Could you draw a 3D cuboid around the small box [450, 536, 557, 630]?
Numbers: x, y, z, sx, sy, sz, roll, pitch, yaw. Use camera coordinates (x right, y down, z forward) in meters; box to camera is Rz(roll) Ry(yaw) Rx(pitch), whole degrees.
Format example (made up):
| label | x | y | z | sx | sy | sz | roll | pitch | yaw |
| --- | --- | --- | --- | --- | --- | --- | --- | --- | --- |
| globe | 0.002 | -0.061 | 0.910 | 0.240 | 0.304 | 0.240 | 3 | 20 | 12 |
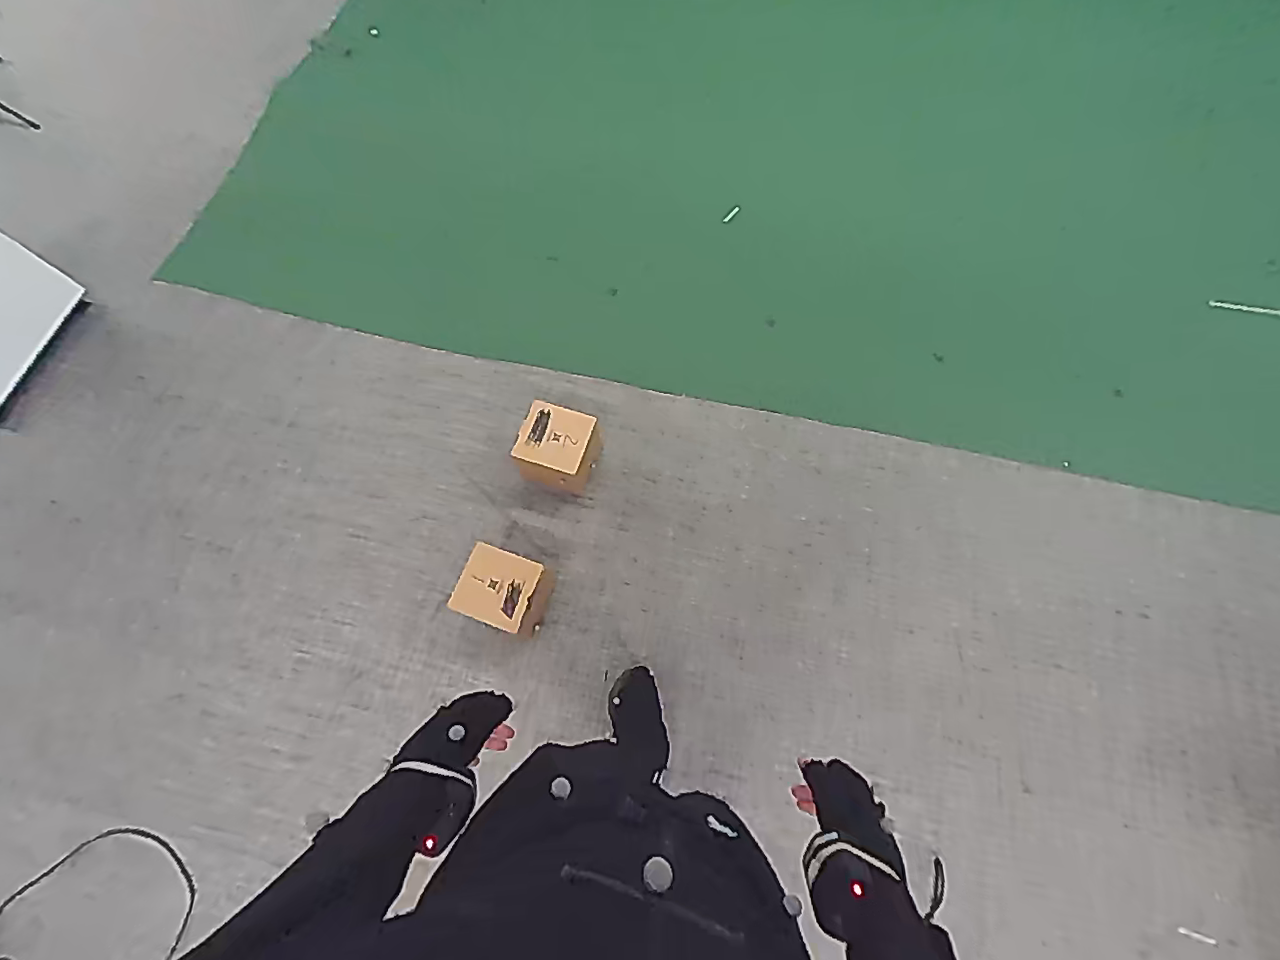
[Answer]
| label | x | y | z | sx | sy | sz | roll | pitch | yaw |
| --- | --- | --- | --- | --- | --- | --- | --- | --- | --- |
| small box | -0.317 | 0.253 | 1.302 | 0.179 | 0.176 | 0.168 | 18 | 72 | 9 |
